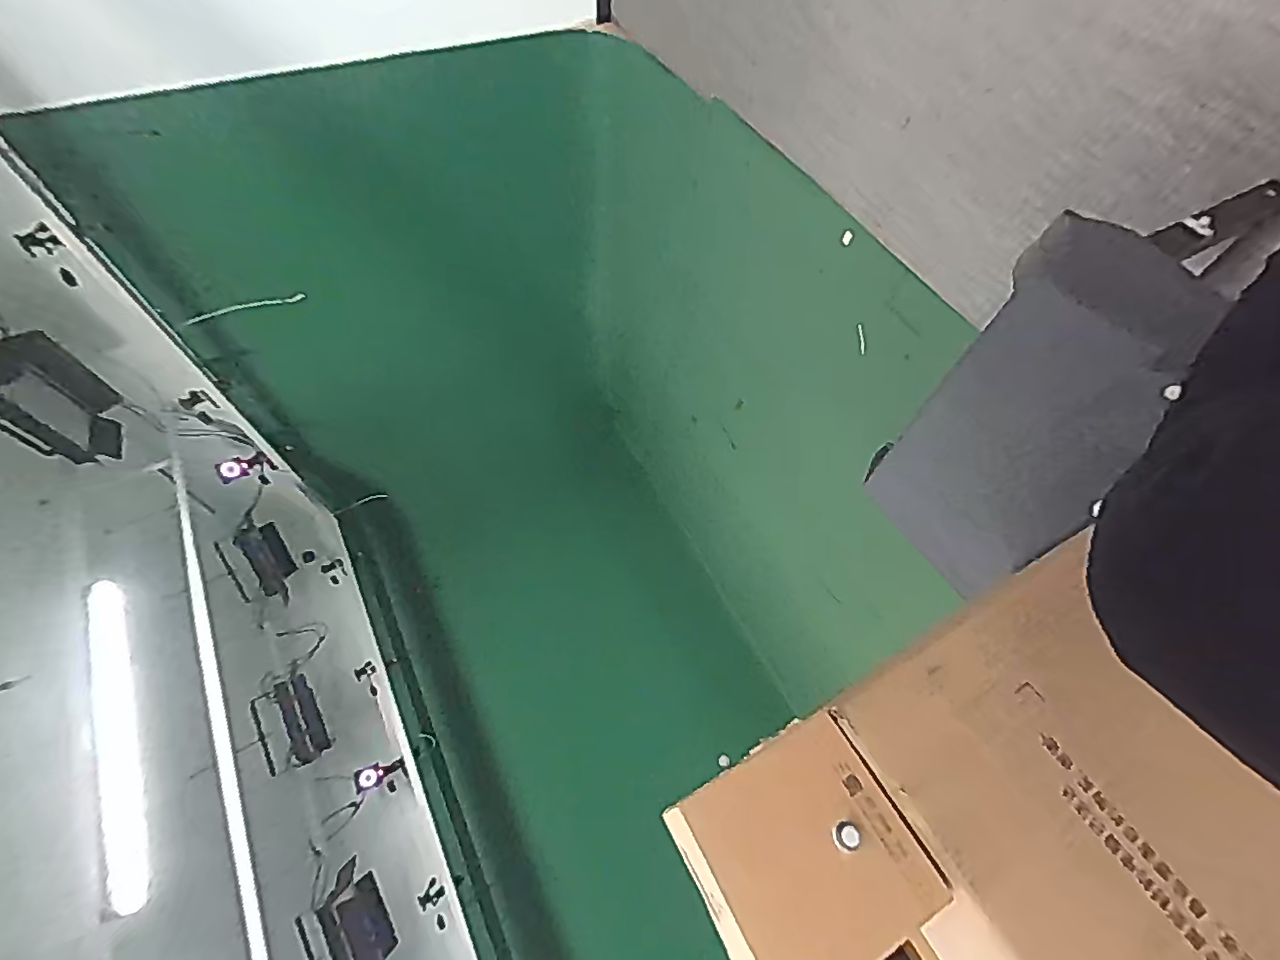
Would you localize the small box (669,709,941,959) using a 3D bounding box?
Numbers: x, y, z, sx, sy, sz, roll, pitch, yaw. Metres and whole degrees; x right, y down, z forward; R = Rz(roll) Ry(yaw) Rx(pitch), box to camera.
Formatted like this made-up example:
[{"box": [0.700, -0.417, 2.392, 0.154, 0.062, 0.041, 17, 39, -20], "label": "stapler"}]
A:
[{"box": [0.146, 0.352, 0.527, 0.168, 0.176, 0.179, 57, 159, 28], "label": "small box"}]
